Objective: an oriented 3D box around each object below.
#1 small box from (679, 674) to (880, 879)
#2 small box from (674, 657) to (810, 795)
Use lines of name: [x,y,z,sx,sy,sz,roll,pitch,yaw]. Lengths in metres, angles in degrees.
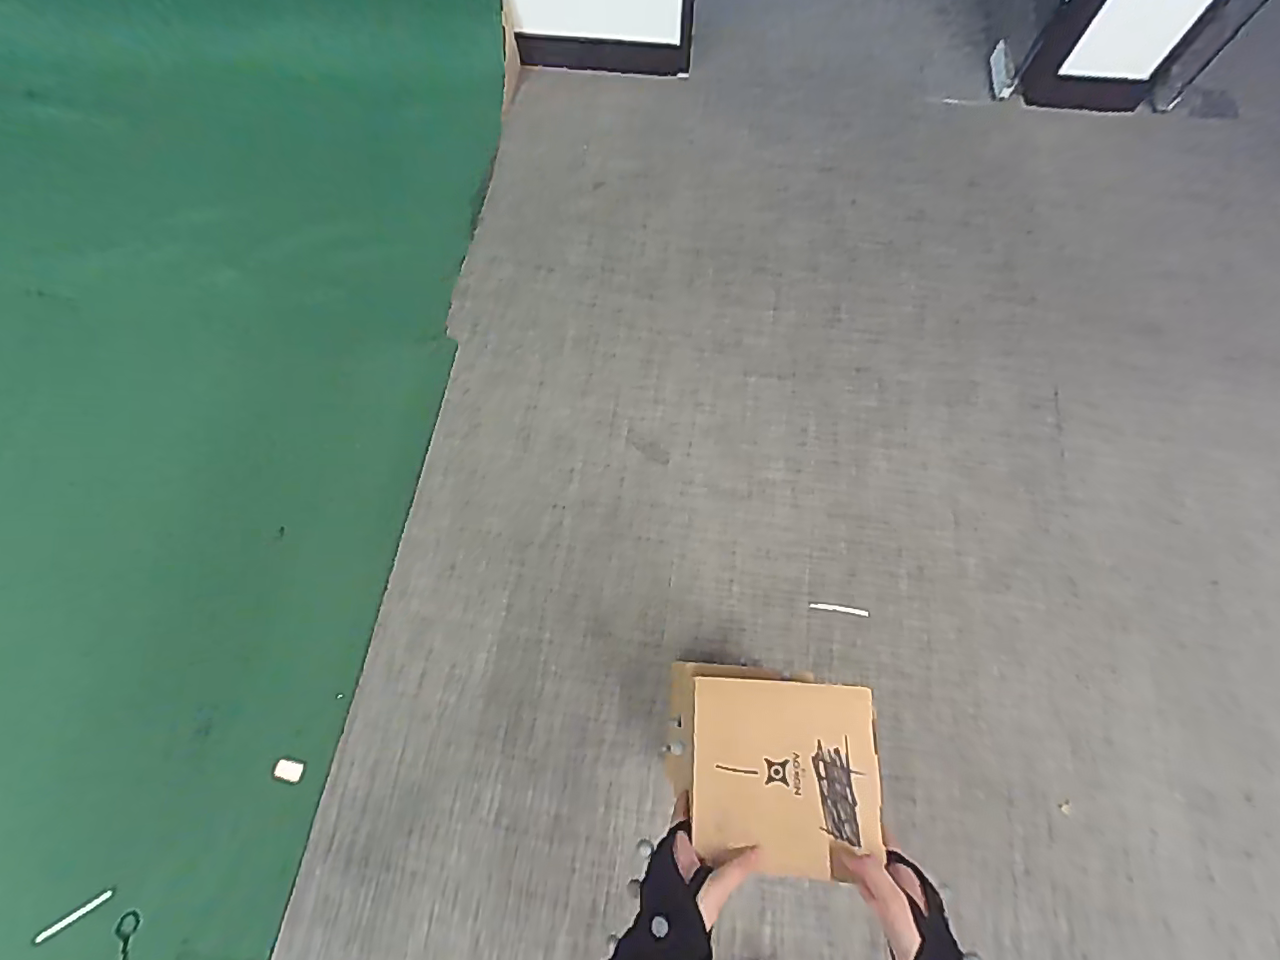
small box: [0.136,0.303,0.588,0.179,0.176,0.168,2,69,3]
small box: [0.135,0.344,0.752,0.168,0.176,0.179,3,72,3]
